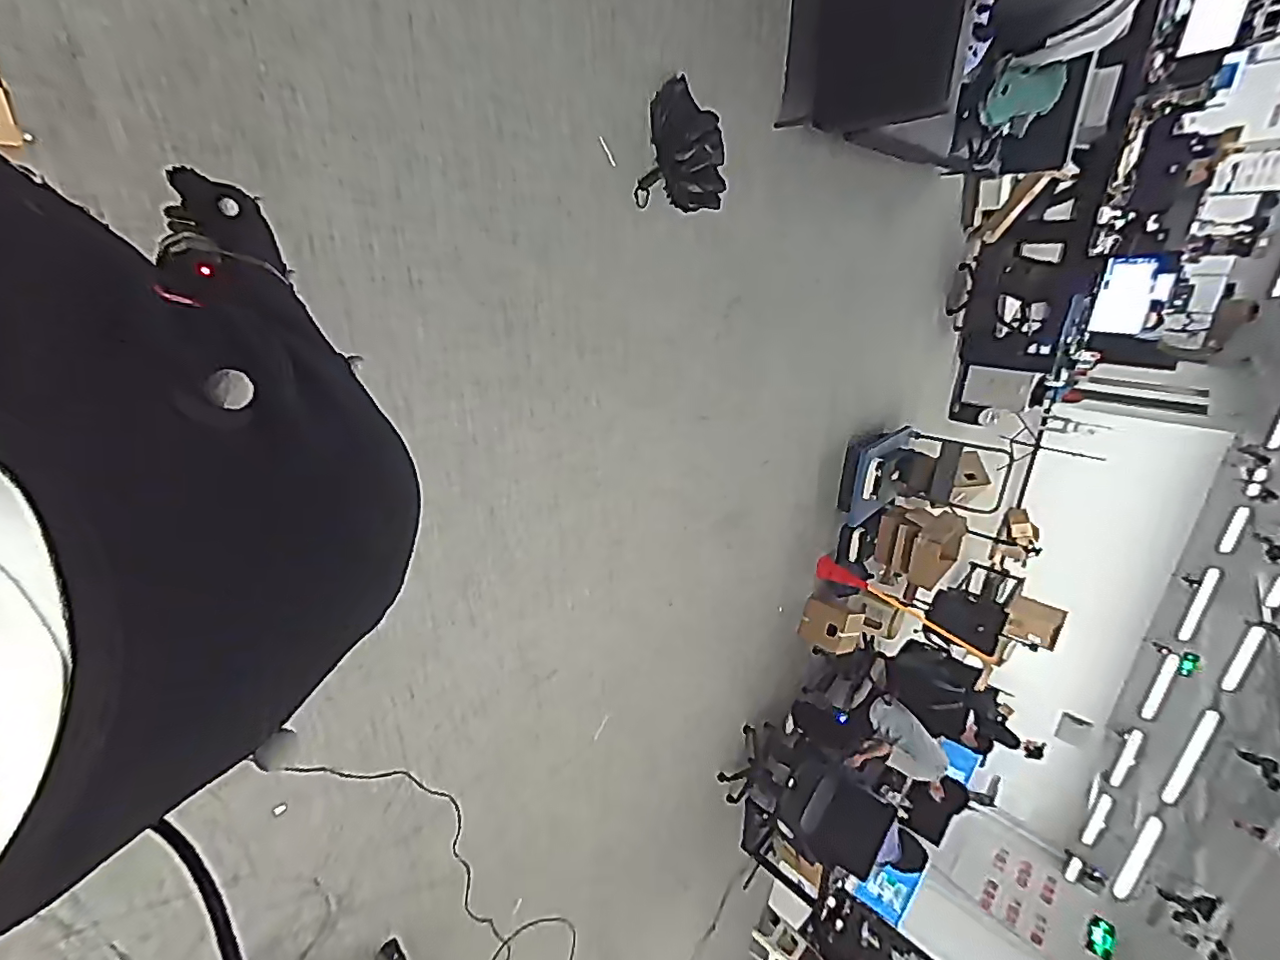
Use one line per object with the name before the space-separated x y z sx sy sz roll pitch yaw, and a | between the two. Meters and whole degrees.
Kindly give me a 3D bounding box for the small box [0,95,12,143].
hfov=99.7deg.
small box | -1.053 -0.594 0.771 0.179 0.176 0.168 -18 118 -42
